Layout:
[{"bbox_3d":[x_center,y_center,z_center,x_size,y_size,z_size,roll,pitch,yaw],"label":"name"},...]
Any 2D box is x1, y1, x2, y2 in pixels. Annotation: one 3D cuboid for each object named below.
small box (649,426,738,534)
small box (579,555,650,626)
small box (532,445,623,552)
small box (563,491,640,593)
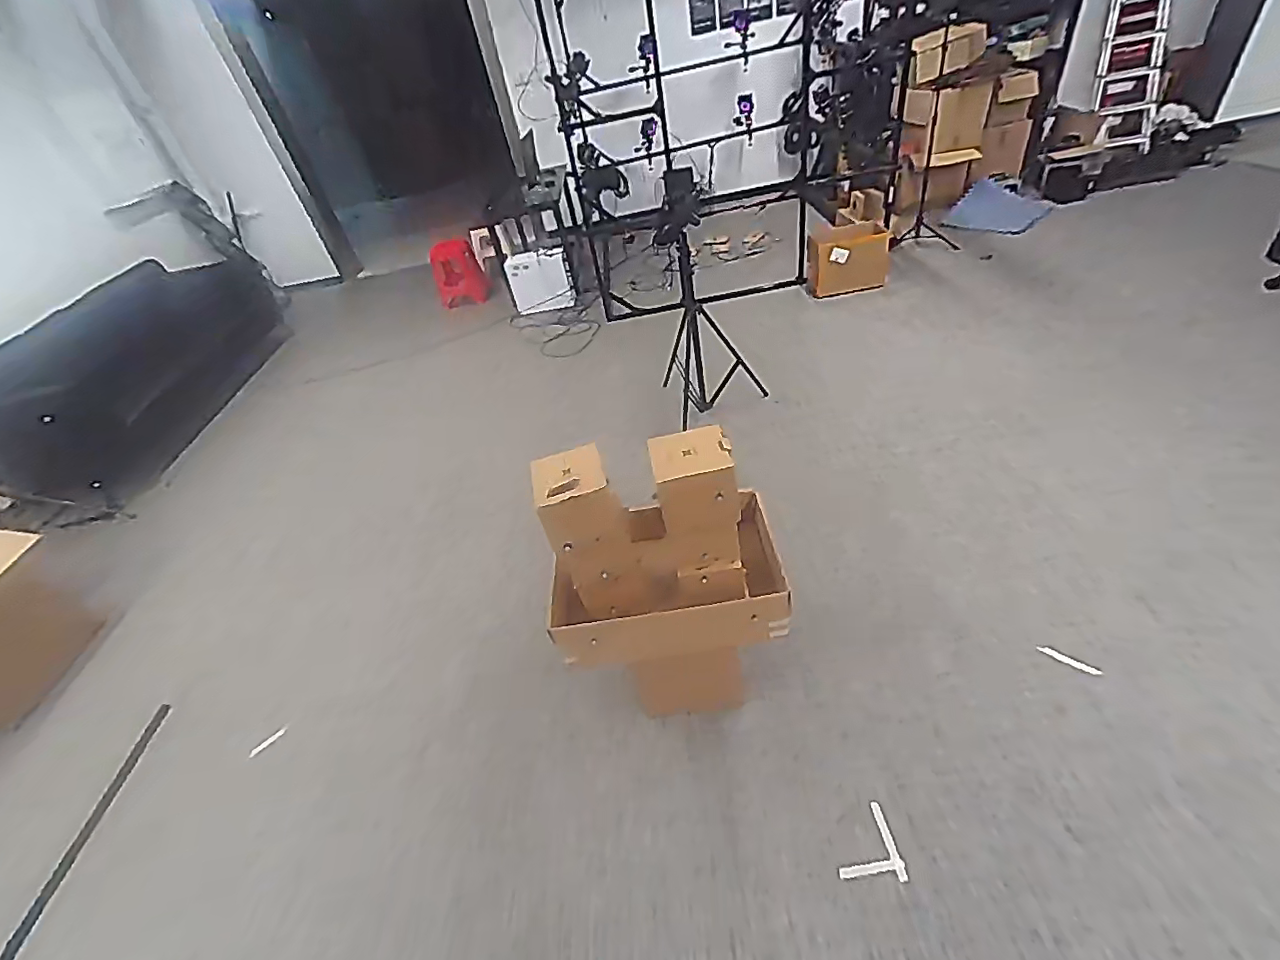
[{"bbox_3d":[0.127,0.001,1.256,0.179,0.176,0.168,-12,39,3],"label":"small box"},{"bbox_3d":[-0.078,0.276,1.510,0.168,0.176,0.179,-16,40,-1],"label":"small box"},{"bbox_3d":[-0.146,0.050,1.281,0.168,0.176,0.179,-17,40,-3],"label":"small box"},{"bbox_3d":[-0.105,0.160,1.397,0.168,0.176,0.179,-15,41,-1],"label":"small box"}]
